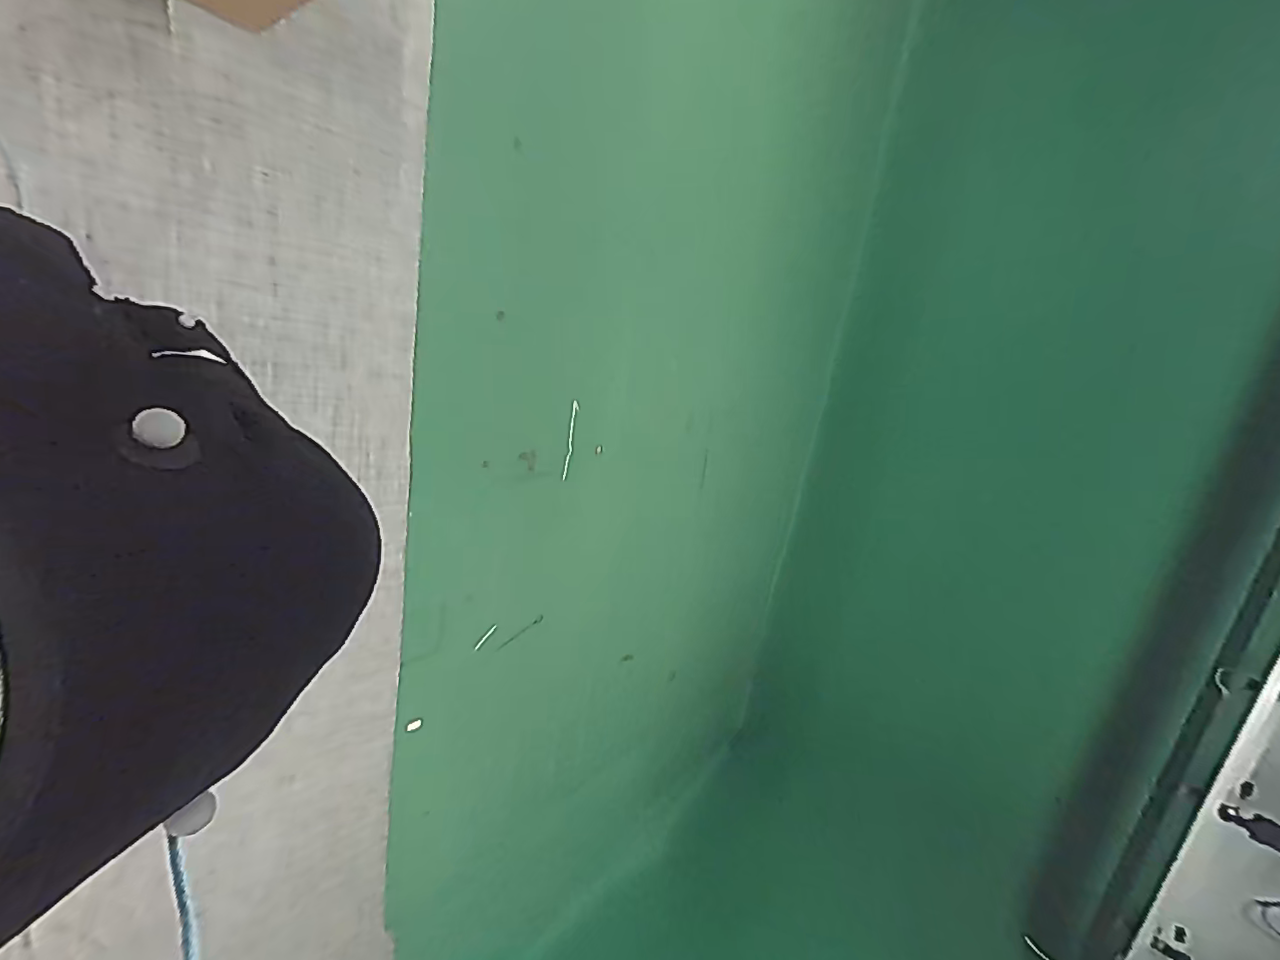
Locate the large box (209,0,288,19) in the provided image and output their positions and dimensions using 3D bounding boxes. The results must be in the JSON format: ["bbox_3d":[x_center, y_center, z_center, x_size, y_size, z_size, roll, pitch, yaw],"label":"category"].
[{"bbox_3d":[-0.694,-0.923,0.719,0.408,0.320,0.320,-6,111,-50],"label":"large box"}]
